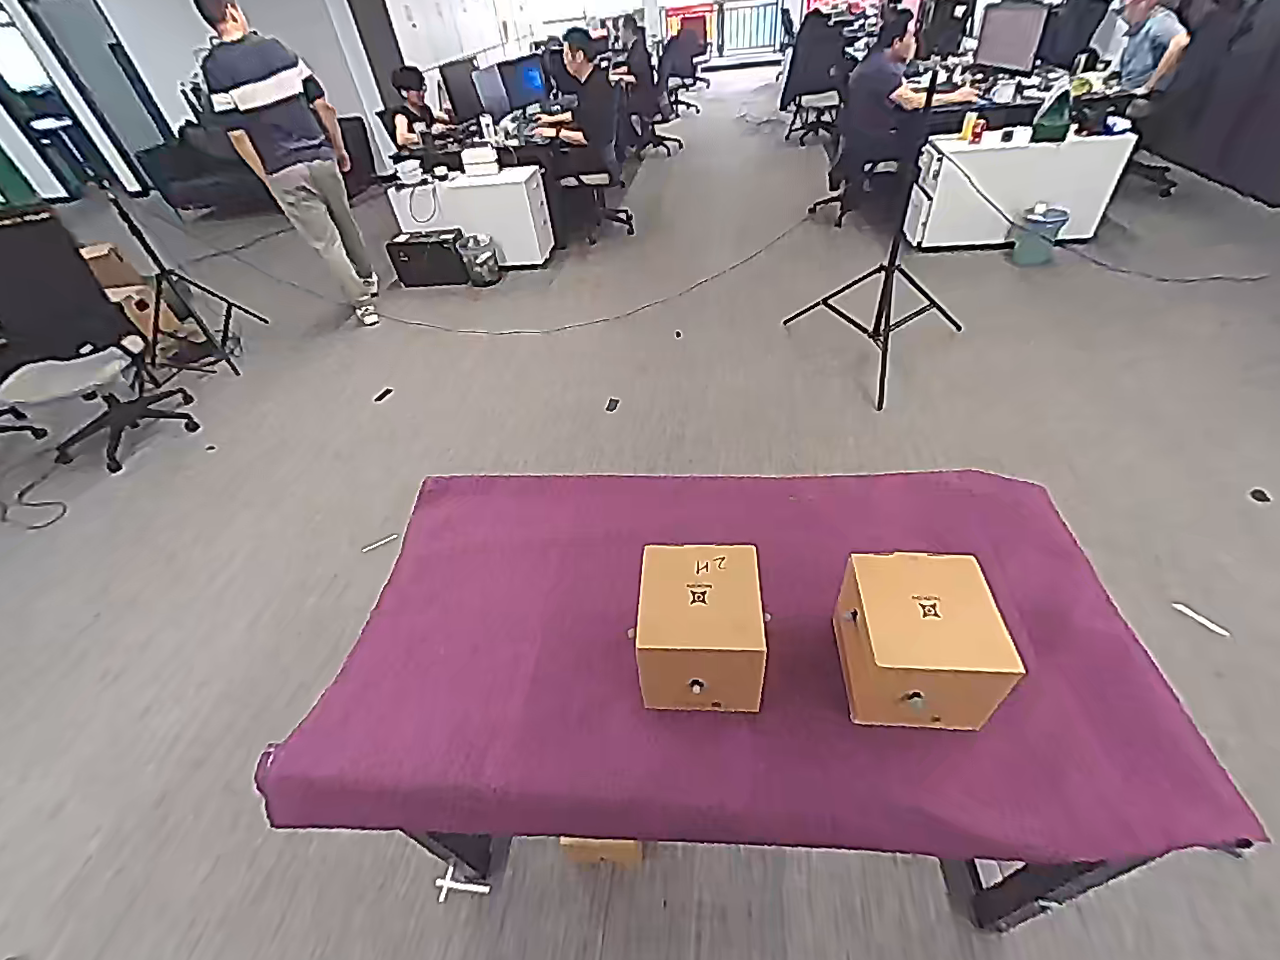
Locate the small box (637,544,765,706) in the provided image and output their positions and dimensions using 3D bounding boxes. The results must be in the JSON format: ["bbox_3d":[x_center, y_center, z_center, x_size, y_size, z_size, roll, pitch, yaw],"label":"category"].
[{"bbox_3d":[0.091,0.214,0.796,0.168,0.176,0.179,0,41,6],"label":"small box"}]

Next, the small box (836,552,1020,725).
[{"bbox_3d":[0.379,0.220,0.751,0.168,0.176,0.179,0,43,8],"label":"small box"}]
